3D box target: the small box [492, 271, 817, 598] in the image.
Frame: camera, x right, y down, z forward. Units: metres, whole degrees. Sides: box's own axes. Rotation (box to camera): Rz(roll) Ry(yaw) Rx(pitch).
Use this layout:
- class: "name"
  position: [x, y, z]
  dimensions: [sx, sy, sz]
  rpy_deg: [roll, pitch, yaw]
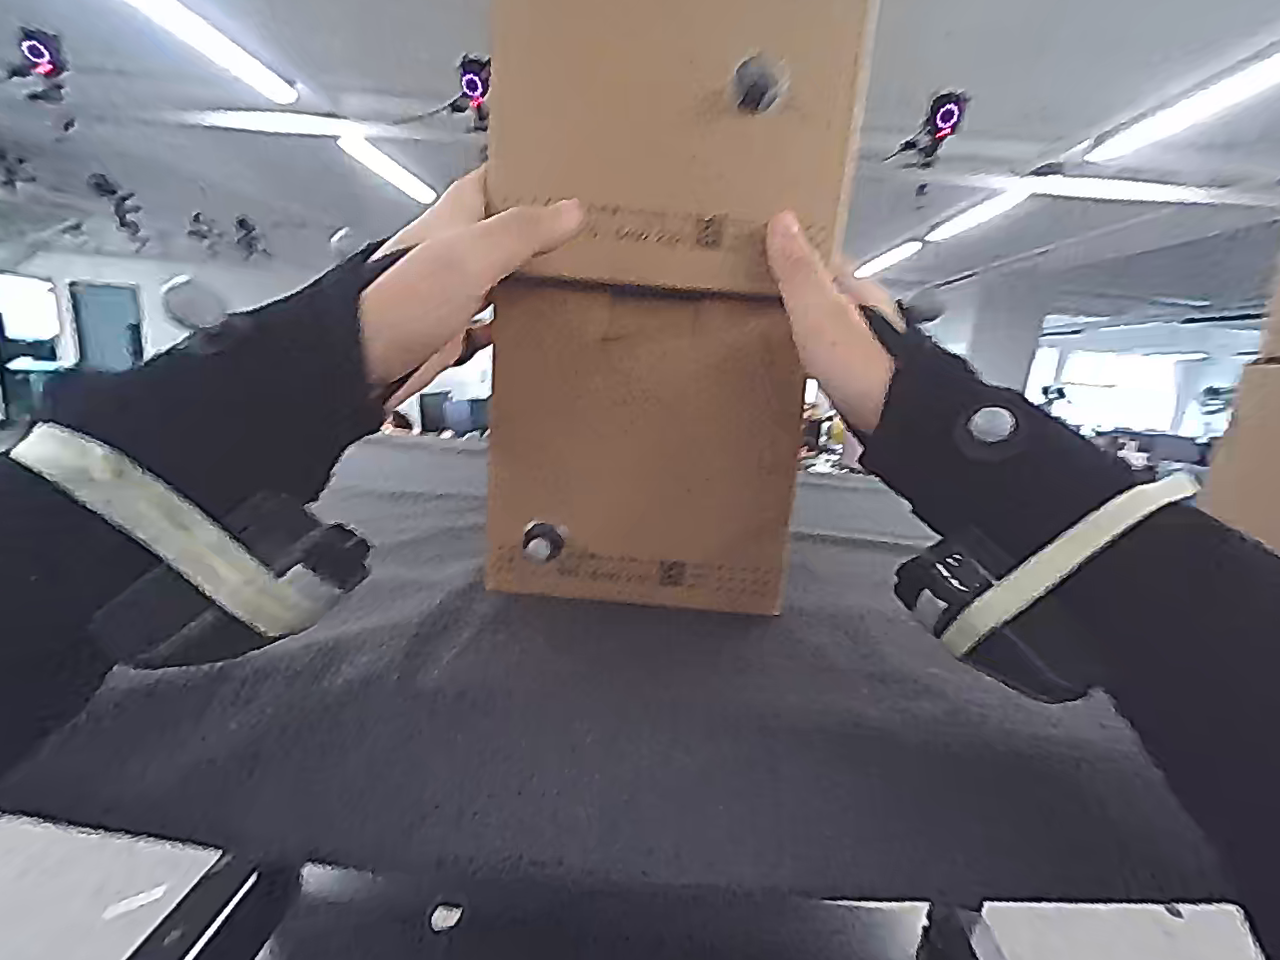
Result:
- class: "small box"
  position: [0.007, -0.033, 0.364]
  dimensions: [0.168, 0.176, 0.179]
  rpy_deg: [6, 11, 2]

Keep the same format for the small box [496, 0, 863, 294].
- class: "small box"
  position: [0.017, -0.189, 0.319]
  dimensions: [0.168, 0.176, 0.179]
  rpy_deg: [6, 11, 0]
